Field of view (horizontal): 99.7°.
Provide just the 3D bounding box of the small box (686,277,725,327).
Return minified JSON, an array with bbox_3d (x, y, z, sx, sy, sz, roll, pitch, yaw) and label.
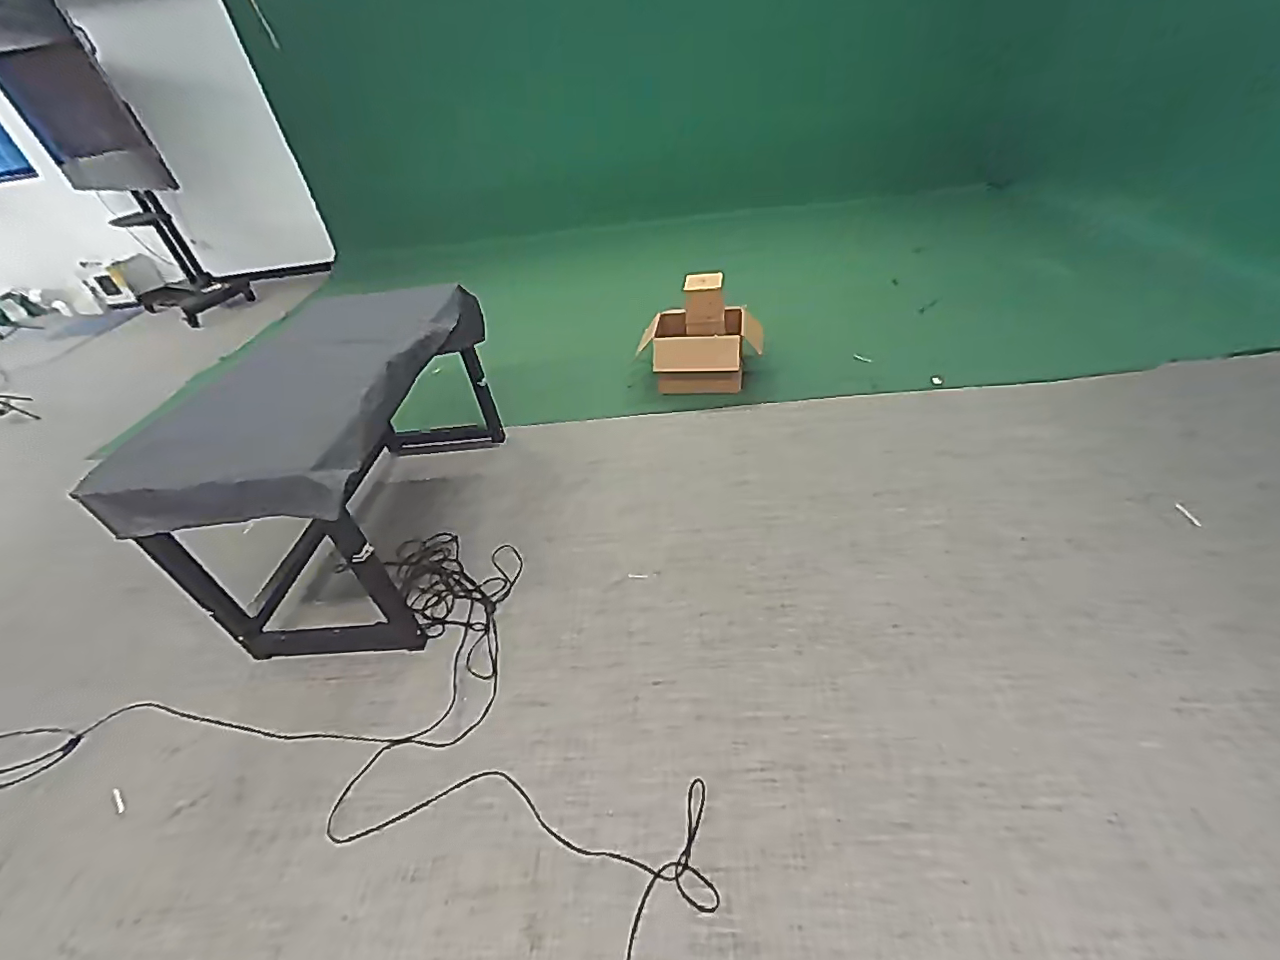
[{"bbox_3d":[0.304,-0.816,2.489,0.168,0.176,0.179,0,39,11],"label":"small box"}]
